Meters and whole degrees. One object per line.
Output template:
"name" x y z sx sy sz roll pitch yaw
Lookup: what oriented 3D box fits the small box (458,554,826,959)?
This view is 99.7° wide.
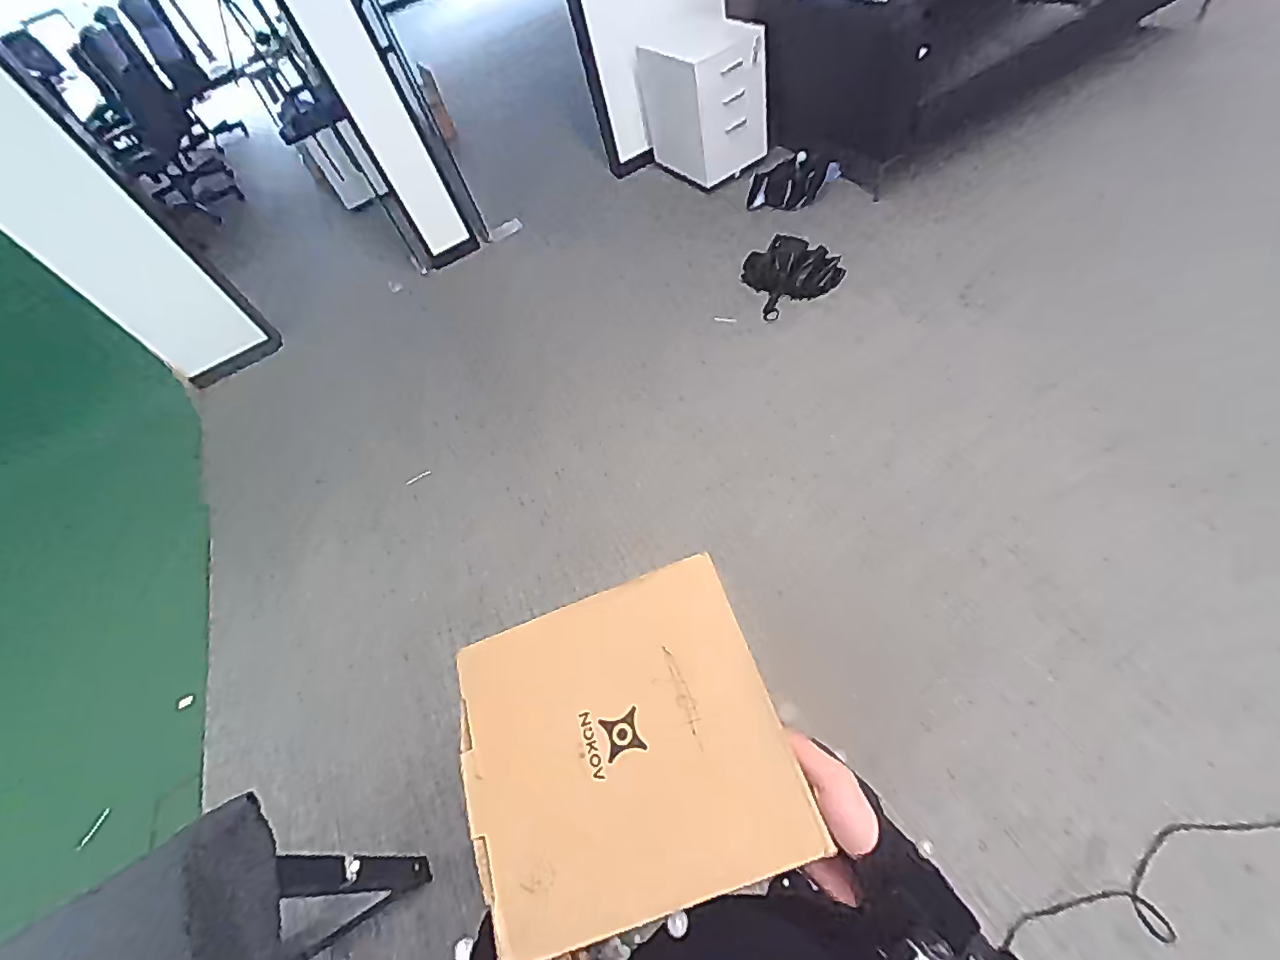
"small box" 0.005 0.179 0.369 0.179 0.176 0.168 -22 60 2
